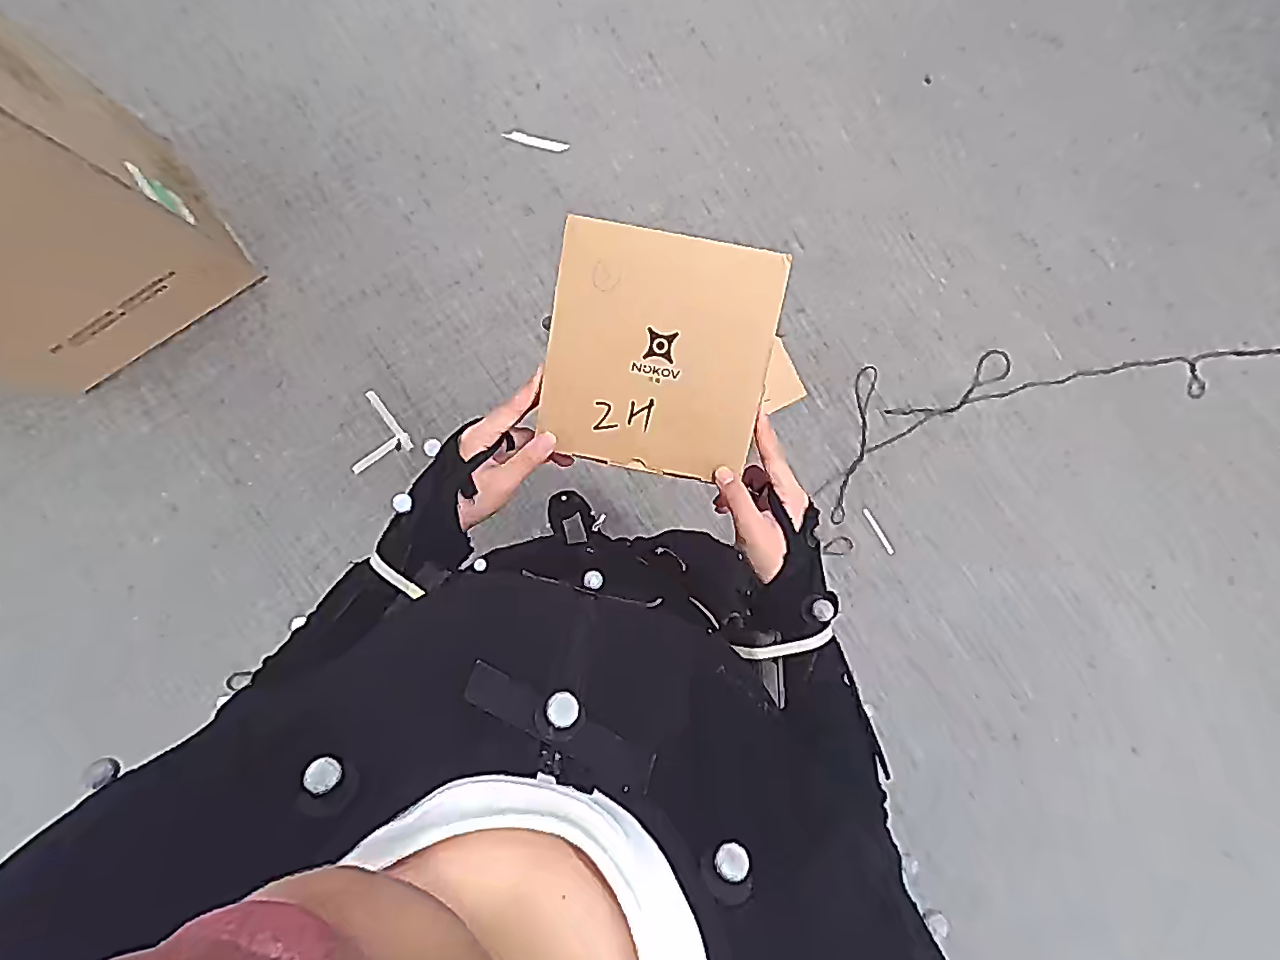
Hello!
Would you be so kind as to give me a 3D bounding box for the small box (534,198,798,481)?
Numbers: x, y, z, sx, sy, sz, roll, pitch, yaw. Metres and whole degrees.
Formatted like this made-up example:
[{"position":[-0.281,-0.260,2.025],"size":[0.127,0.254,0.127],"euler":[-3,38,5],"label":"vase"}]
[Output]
[{"position":[0.019,-0.113,0.469],"size":[0.168,0.176,0.179],"euler":[11,102,1],"label":"small box"}]
